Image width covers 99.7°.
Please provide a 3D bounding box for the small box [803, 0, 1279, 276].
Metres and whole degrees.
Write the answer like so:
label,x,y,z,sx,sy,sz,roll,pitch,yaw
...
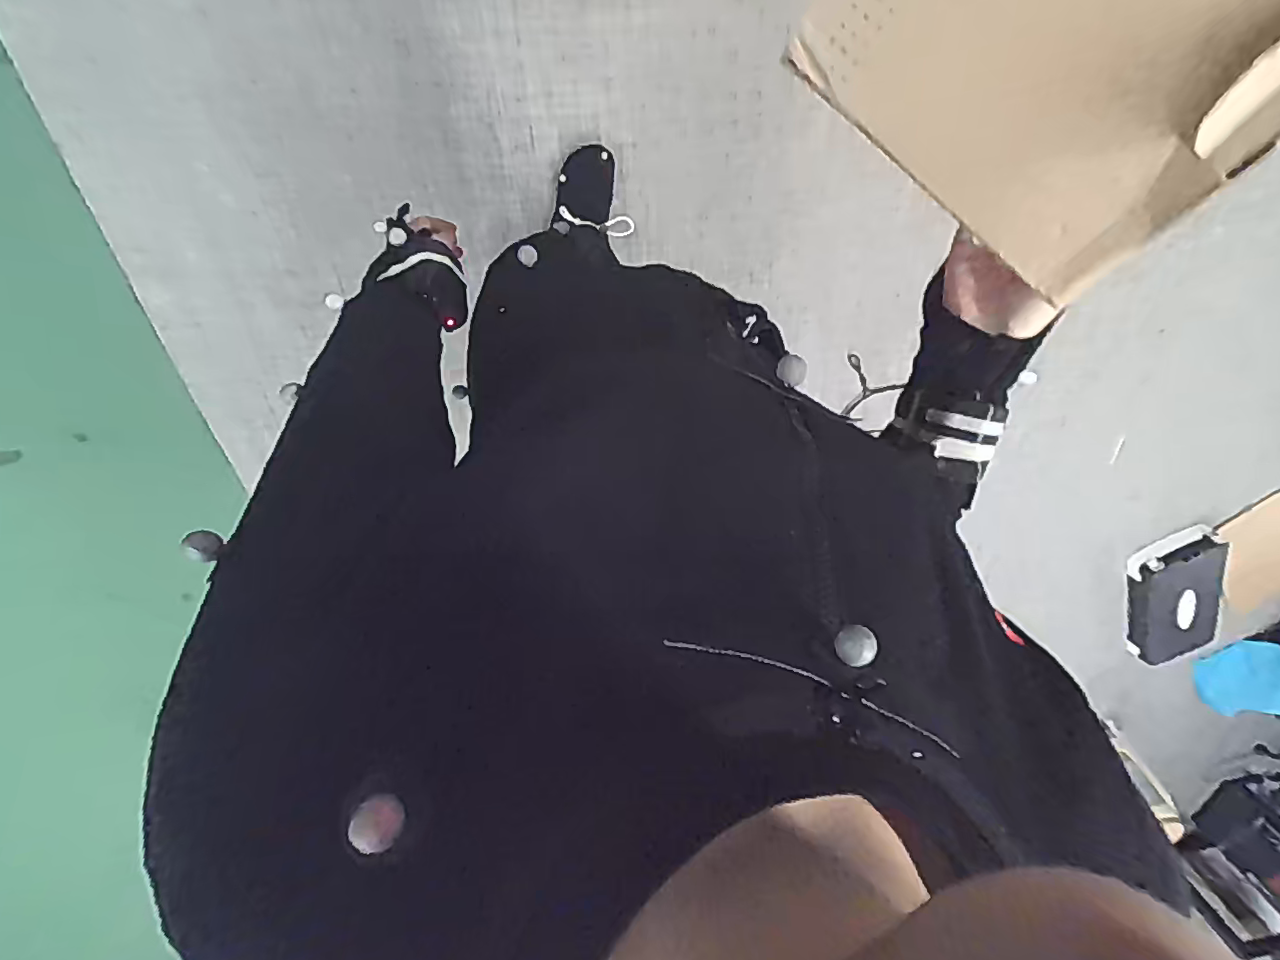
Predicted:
label,x,y,z,sx,sy,sz,roll,pitch,yaw
small box,0.203,-0.225,0.227,0.176,0.179,0.168,45,137,2
